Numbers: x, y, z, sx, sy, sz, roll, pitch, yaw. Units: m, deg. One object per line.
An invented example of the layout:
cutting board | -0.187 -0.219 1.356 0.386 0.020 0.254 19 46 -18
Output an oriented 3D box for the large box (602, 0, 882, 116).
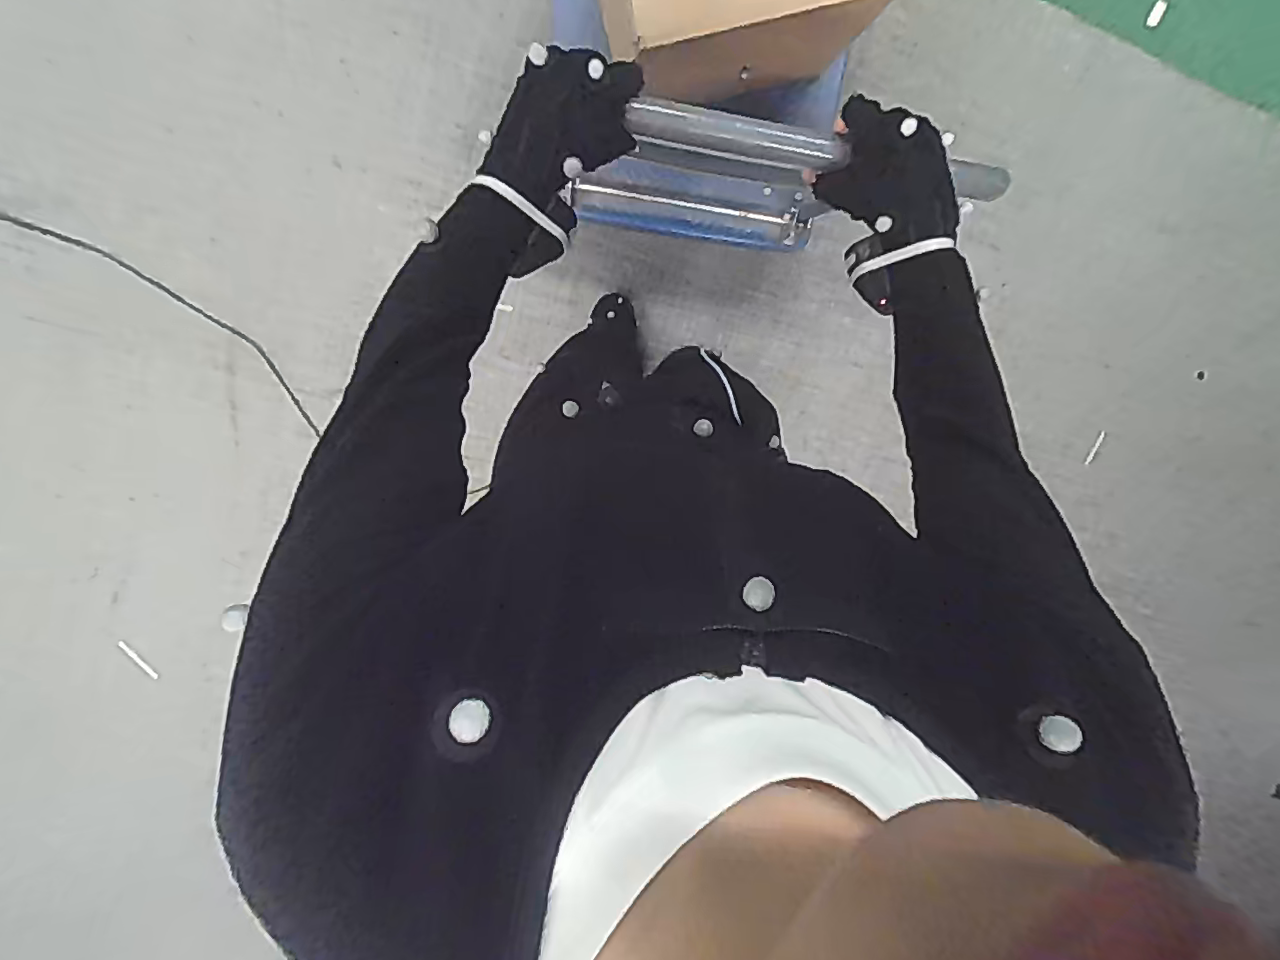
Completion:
large box | 0.141 -0.857 0.883 0.408 0.320 0.320 -13 107 0
